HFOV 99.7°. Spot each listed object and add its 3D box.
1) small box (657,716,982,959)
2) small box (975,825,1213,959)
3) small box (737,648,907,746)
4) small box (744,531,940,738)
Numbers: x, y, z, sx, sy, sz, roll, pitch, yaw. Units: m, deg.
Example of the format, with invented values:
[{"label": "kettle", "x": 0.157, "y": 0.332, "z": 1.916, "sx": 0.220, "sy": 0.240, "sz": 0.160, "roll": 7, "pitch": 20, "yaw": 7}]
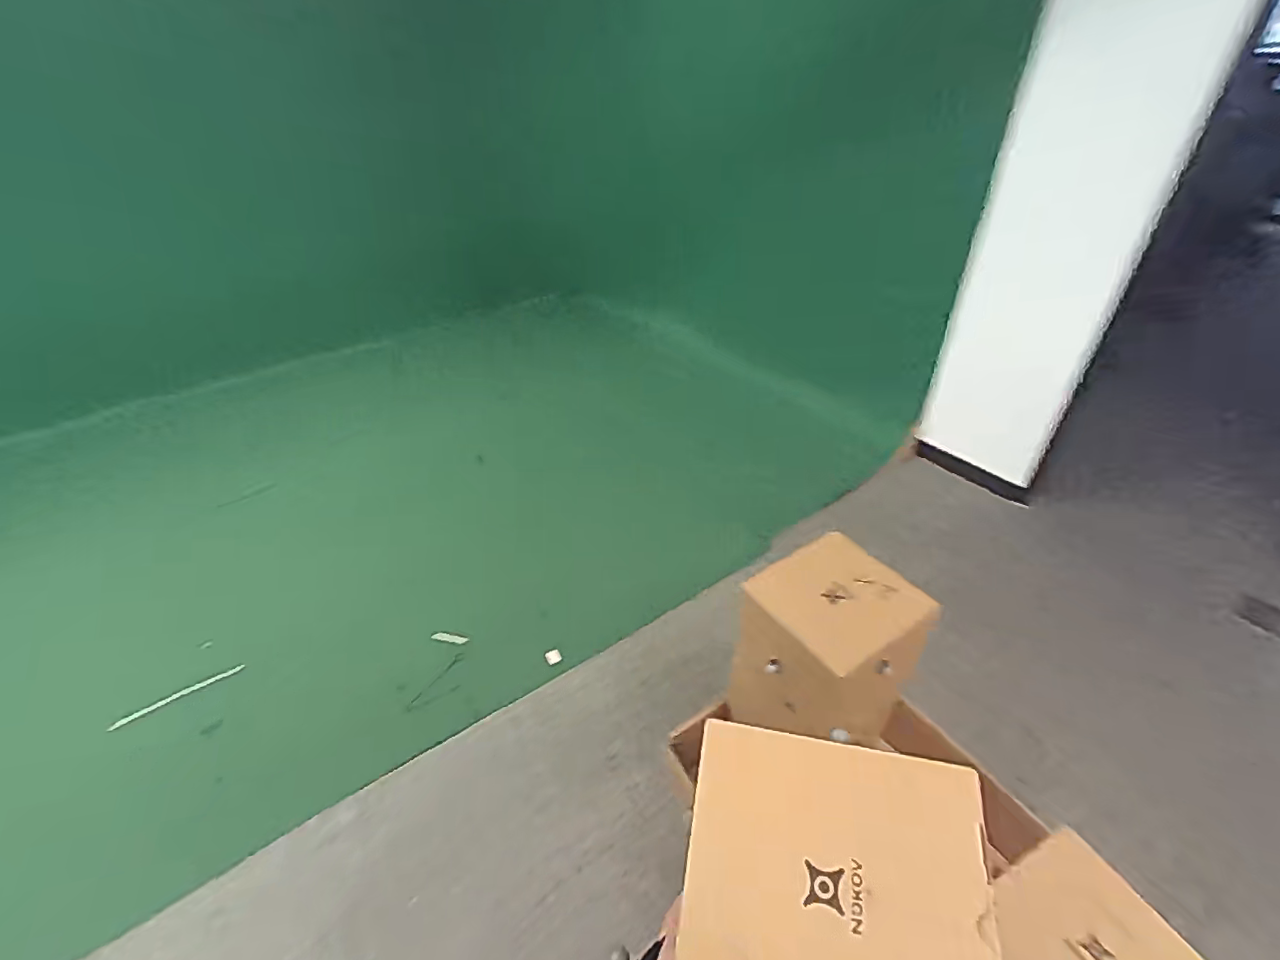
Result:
[{"label": "small box", "x": 0.118, "y": 0.286, "z": 0.386, "sx": 0.179, "sy": 0.176, "sz": 0.168, "roll": 4, "pitch": 56, "yaw": 13}, {"label": "small box", "x": 0.451, "y": 0.520, "z": 0.573, "sx": 0.179, "sy": 0.176, "sz": 0.168, "roll": -19, "pitch": 41, "yaw": -18}, {"label": "small box", "x": 0.267, "y": 0.335, "z": 0.830, "sx": 0.168, "sy": 0.176, "sz": 0.179, "roll": -25, "pitch": 42, "yaw": -23}, {"label": "small box", "x": 0.258, "y": 0.207, "z": 0.726, "sx": 0.179, "sy": 0.176, "sz": 0.168, "roll": -24, "pitch": 42, "yaw": -21}]
